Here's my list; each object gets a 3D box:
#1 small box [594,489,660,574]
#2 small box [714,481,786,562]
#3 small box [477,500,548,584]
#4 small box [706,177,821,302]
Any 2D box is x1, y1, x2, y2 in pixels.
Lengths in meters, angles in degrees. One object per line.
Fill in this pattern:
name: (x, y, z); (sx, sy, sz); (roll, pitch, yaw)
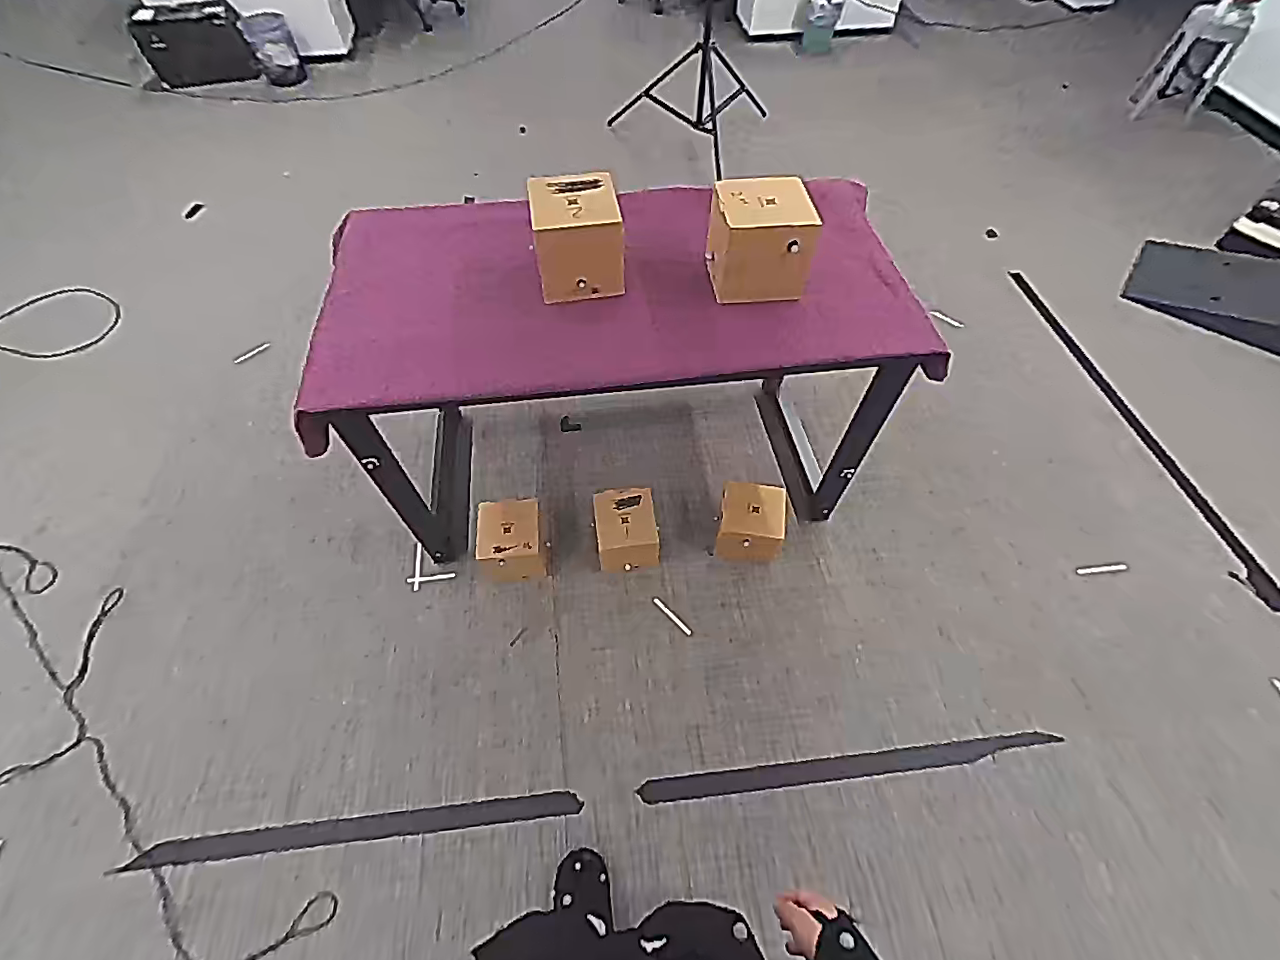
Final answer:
small box: (-0.040, 0.149, 1.547); (0.168, 0.176, 0.179); (-7, 58, -4)
small box: (0.316, 0.124, 1.566); (0.179, 0.176, 0.168); (7, 58, 6)
small box: (-0.355, 0.178, 1.530); (0.168, 0.176, 0.179); (-4, 56, -3)
small box: (0.236, -0.479, 1.086); (0.179, 0.176, 0.168); (-5, 56, -3)
